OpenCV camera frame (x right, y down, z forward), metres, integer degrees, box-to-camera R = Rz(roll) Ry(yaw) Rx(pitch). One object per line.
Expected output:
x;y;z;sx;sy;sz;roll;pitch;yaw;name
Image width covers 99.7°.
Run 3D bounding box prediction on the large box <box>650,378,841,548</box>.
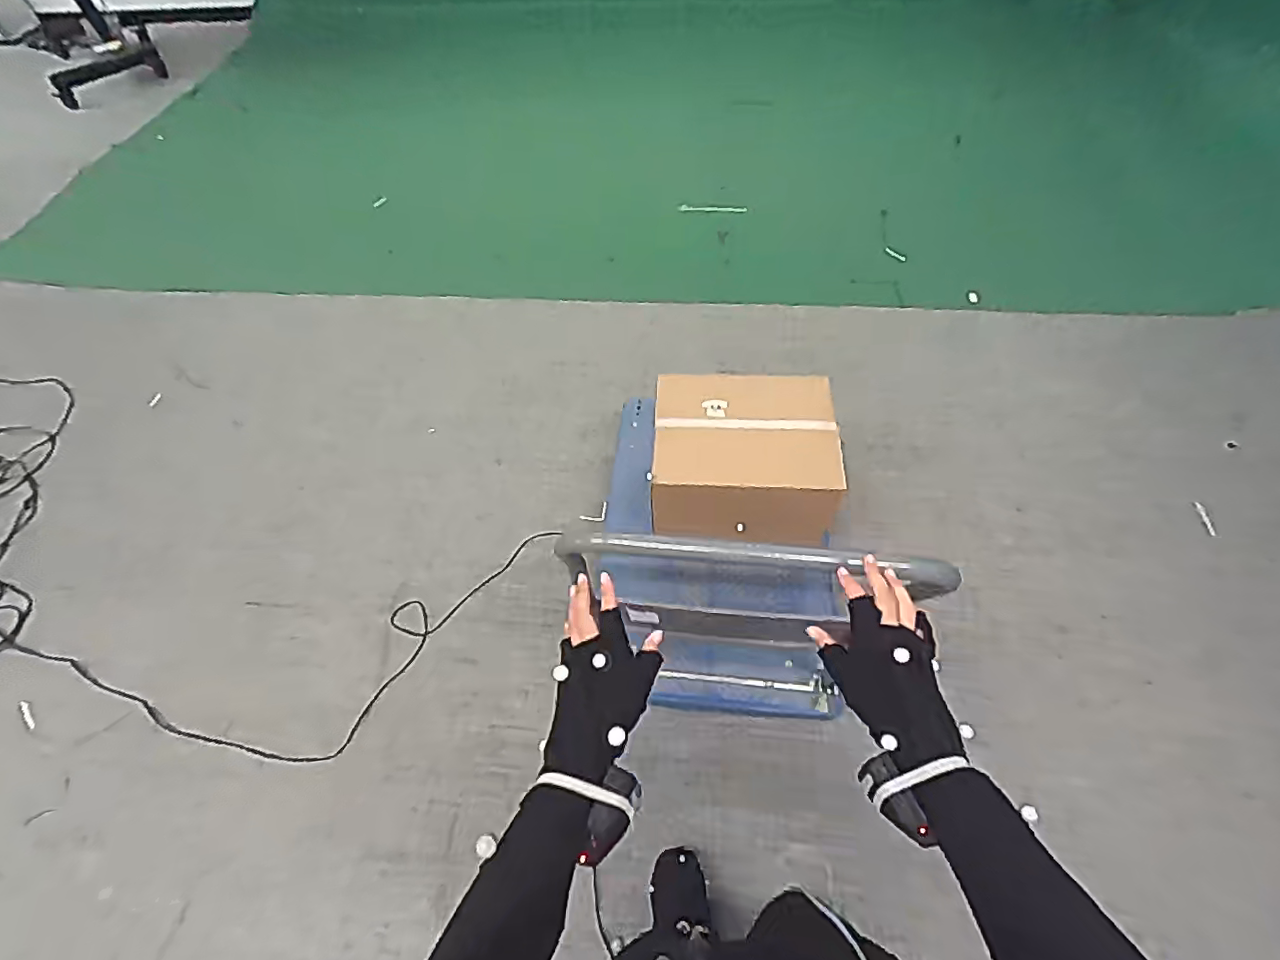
0.239;-0.034;1.333;0.408;0.320;0.320;1;57;5;large box
